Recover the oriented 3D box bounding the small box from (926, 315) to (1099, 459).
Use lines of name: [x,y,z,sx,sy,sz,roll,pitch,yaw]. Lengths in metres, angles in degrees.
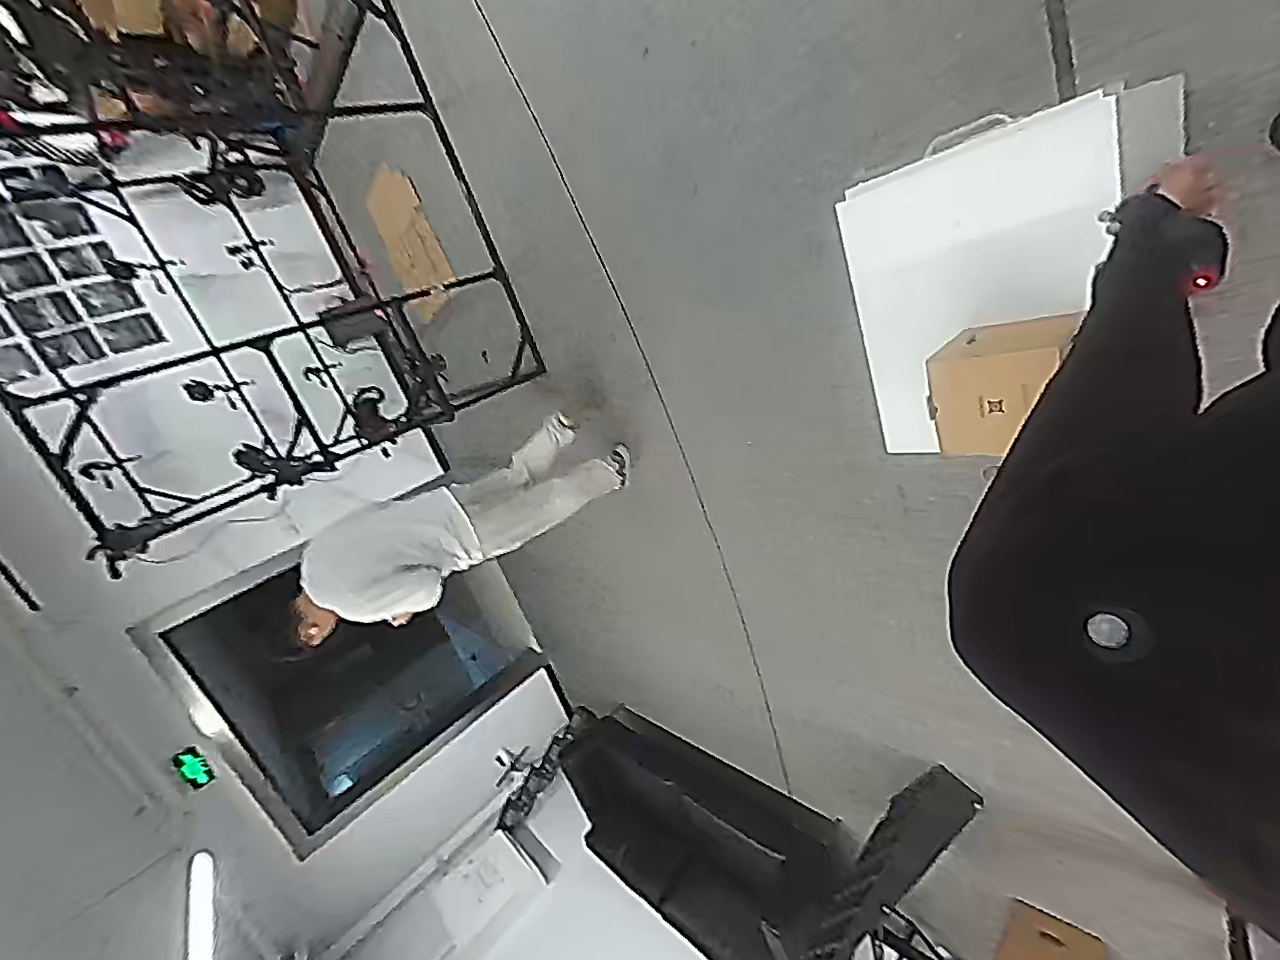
small box: [0.584,-0.144,0.847,0.179,0.176,0.168,5,121,51]
